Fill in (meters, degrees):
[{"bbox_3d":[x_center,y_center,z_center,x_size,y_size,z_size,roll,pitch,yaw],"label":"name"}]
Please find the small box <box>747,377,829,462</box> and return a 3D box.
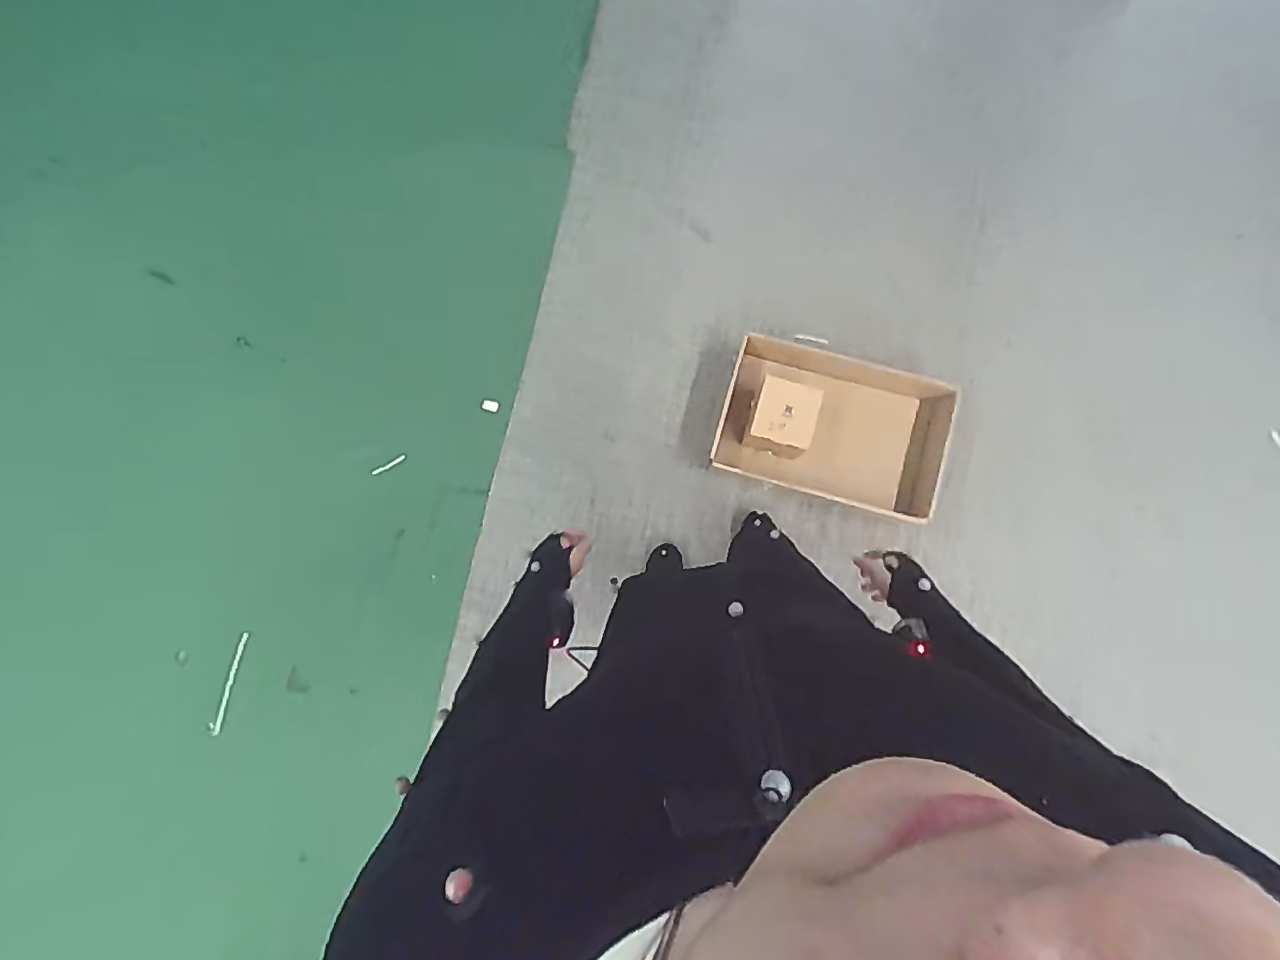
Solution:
[{"bbox_3d":[0.411,-0.166,1.533,0.168,0.176,0.179,17,83,5],"label":"small box"}]
